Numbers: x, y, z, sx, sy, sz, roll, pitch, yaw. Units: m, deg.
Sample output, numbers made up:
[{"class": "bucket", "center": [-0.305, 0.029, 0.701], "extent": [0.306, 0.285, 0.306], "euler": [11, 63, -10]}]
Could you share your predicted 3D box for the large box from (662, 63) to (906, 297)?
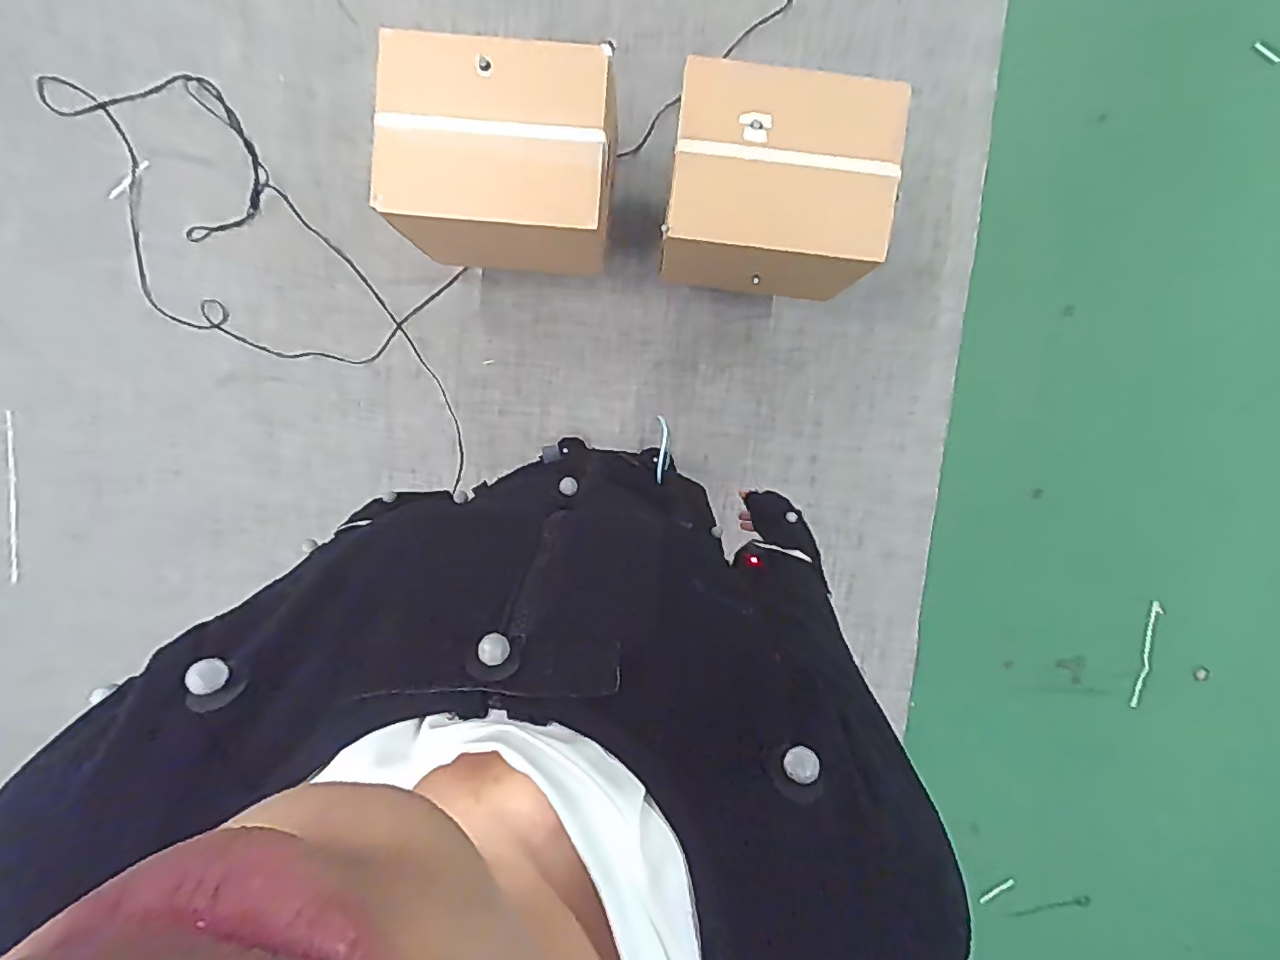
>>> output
[{"class": "large box", "center": [0.267, -0.589, 1.129], "extent": [0.408, 0.320, 0.320], "euler": [7, 95, -1]}]
